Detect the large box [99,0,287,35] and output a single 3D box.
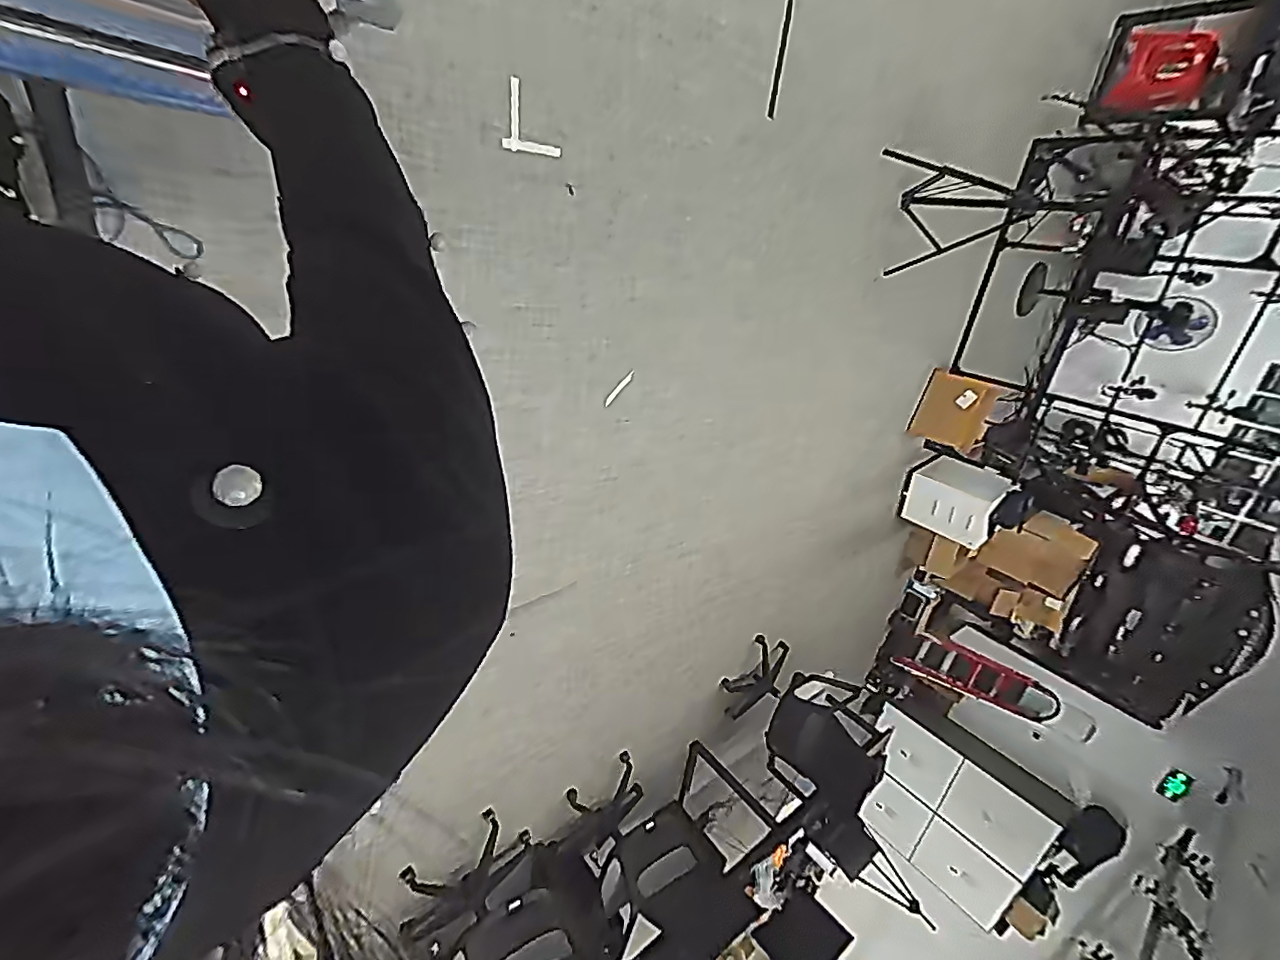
[{"bbox_3d":[-0.701,-0.793,0.638,0.408,0.320,0.320,-16,124,-39],"label":"large box"}]
